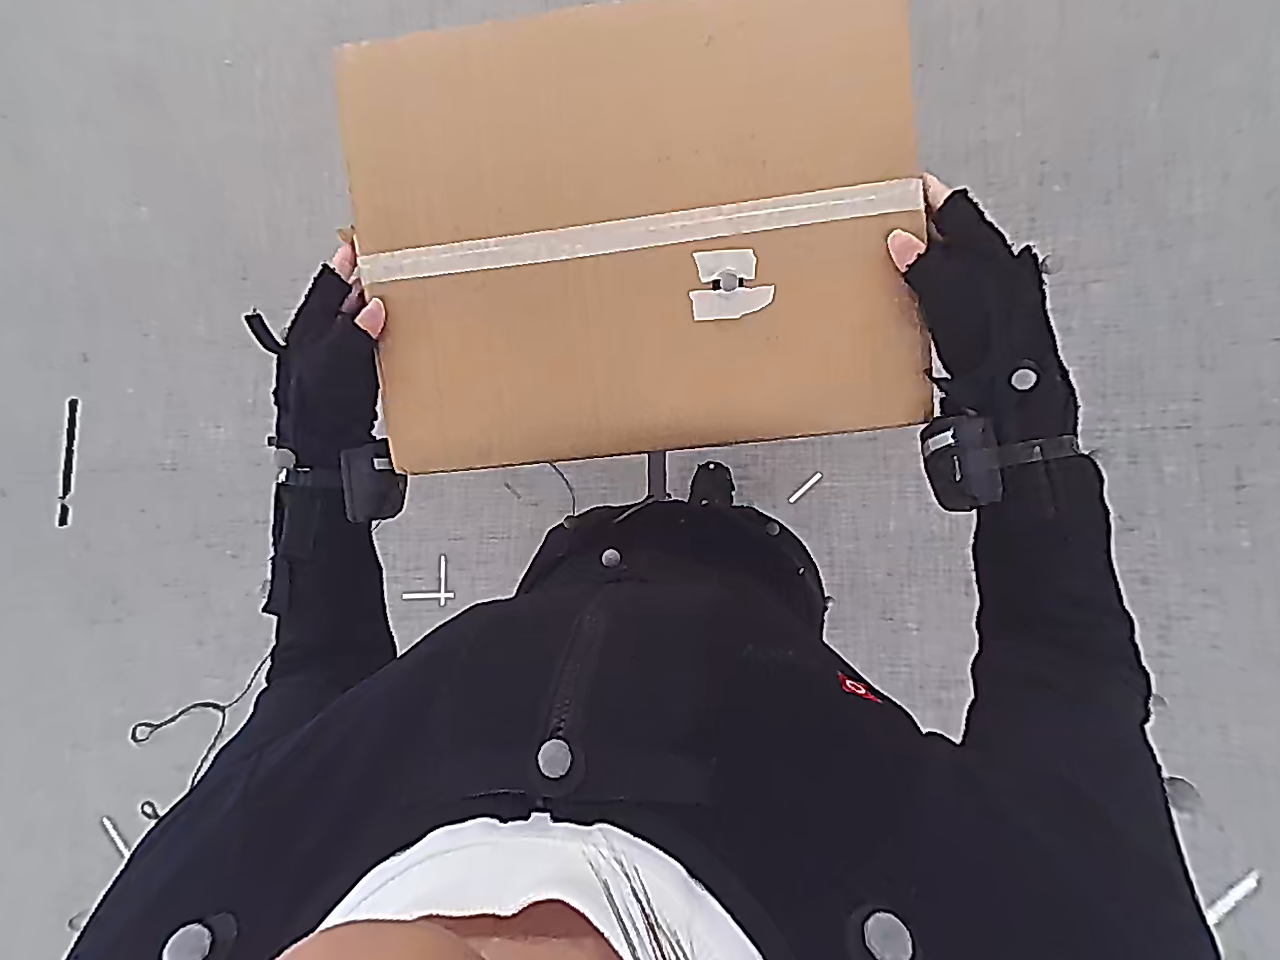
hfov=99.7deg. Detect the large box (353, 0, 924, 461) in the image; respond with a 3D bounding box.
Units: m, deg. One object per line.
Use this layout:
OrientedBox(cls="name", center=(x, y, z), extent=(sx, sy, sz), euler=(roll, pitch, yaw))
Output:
OrientedBox(cls="large box", center=(0.006, -0.204, 0.550), extent=(0.408, 0.320, 0.320), euler=(-6, 97, 4))
